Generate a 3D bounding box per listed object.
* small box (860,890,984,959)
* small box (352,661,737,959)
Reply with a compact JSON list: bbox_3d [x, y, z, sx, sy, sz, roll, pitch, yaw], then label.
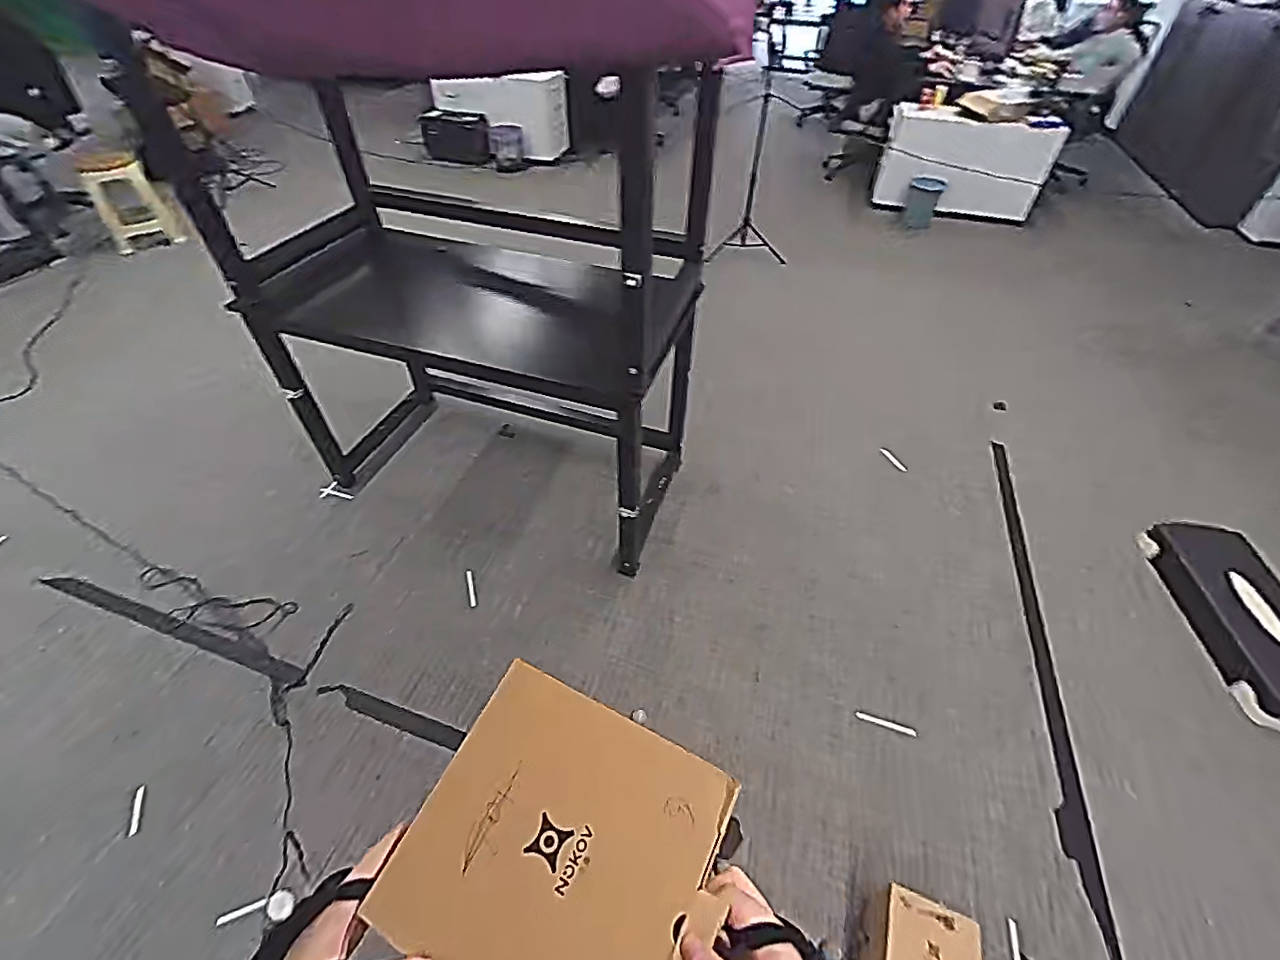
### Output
[{"bbox_3d":[0.541,0.946,1.052,0.168,0.176,0.179,19,50,16],"label":"small box"},{"bbox_3d":[-0.046,0.261,0.383,0.179,0.176,0.168,20,59,20],"label":"small box"}]
